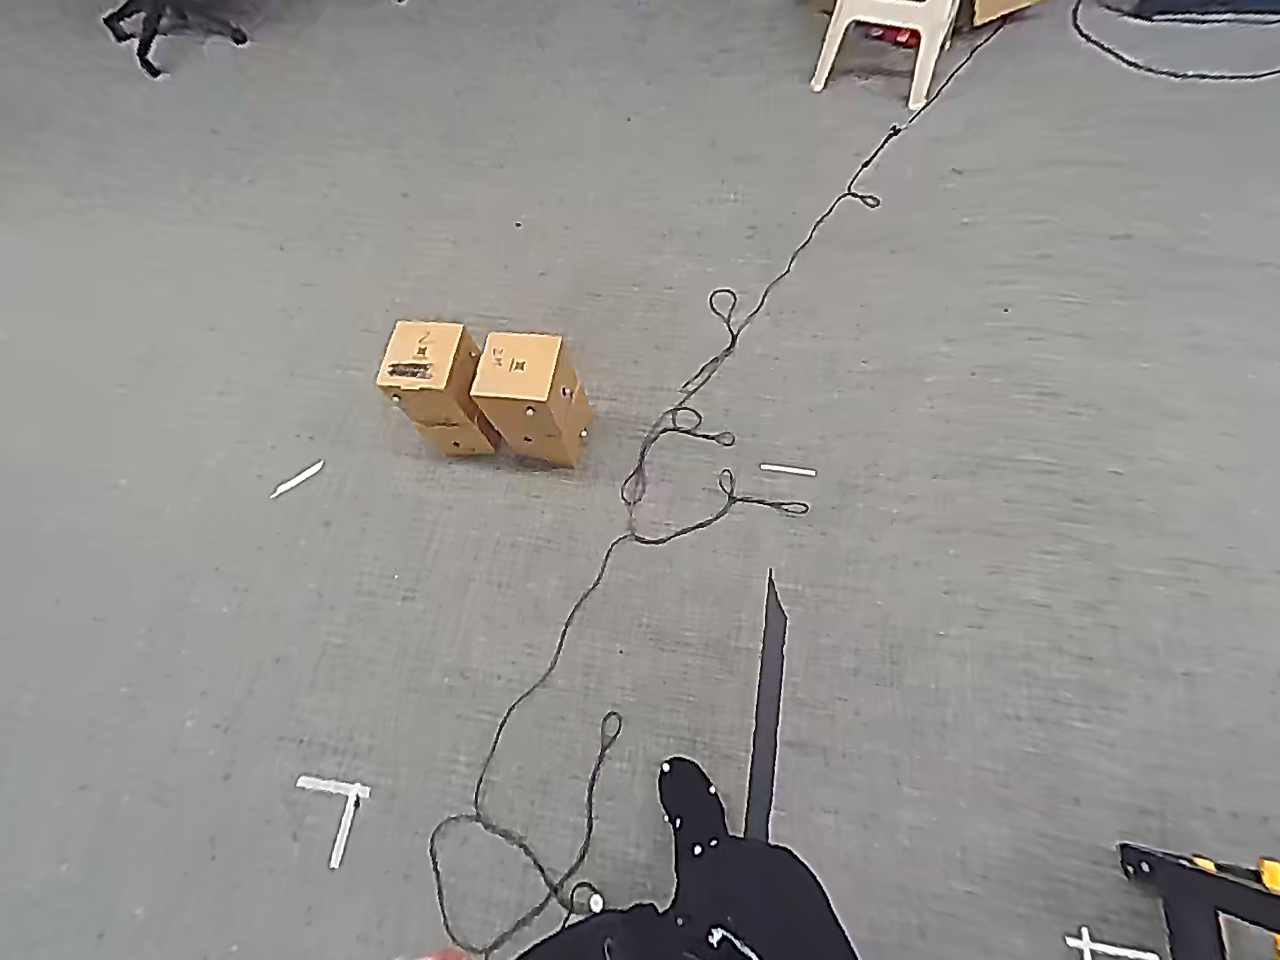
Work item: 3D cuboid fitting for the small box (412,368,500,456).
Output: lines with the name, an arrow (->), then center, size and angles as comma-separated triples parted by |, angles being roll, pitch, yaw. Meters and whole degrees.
small box -> -0.473, -0.179, 1.433 | 0.168, 0.176, 0.179 | 0, 68, 6

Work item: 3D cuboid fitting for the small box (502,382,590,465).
small box -> -0.244, -0.153, 1.397 | 0.179, 0.176, 0.168 | 12, 70, 10

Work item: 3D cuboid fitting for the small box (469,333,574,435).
small box -> -0.261, -0.214, 1.245 | 0.179, 0.176, 0.168 | 6, 68, 9
